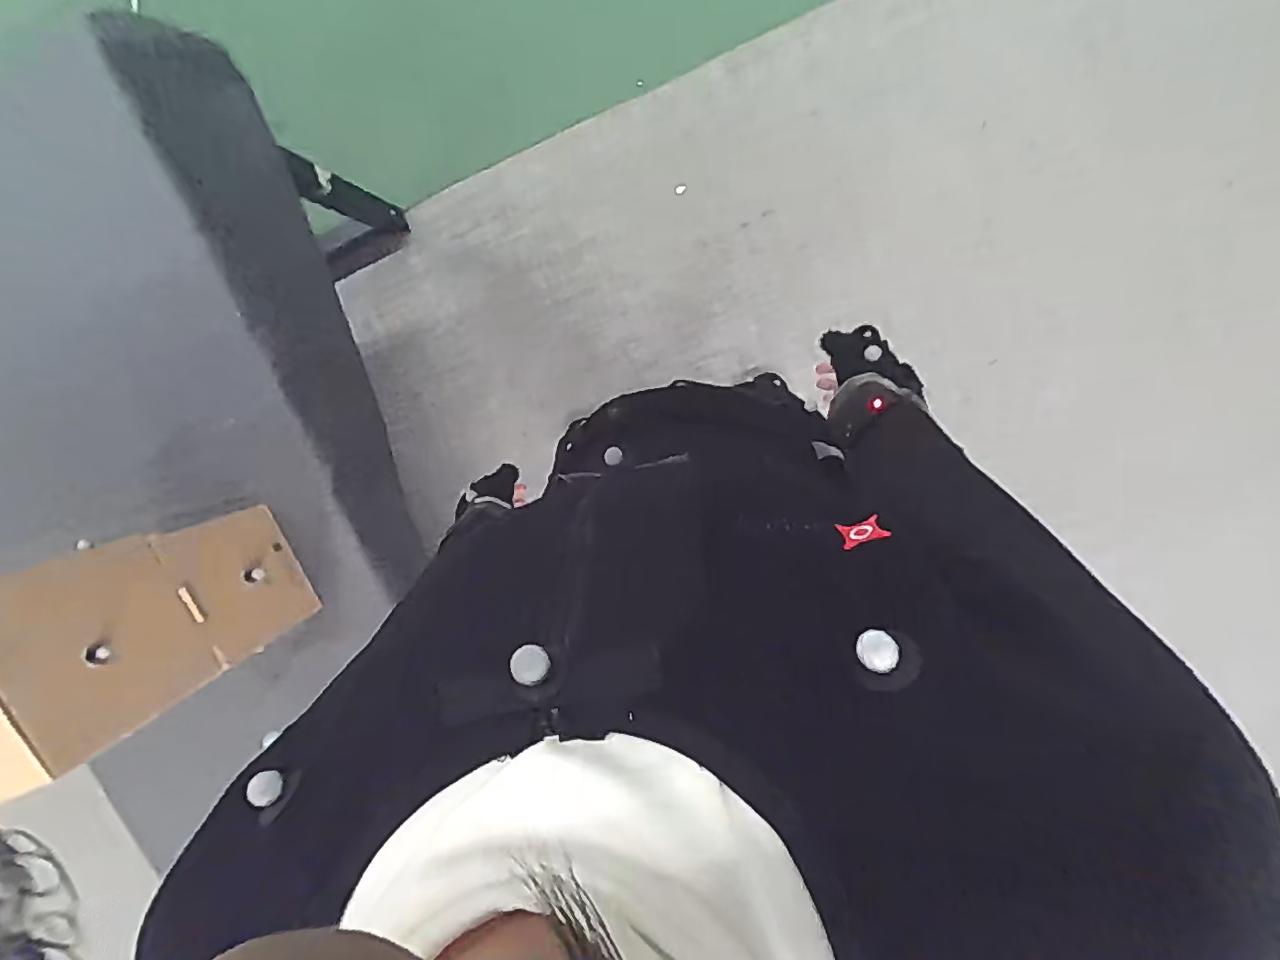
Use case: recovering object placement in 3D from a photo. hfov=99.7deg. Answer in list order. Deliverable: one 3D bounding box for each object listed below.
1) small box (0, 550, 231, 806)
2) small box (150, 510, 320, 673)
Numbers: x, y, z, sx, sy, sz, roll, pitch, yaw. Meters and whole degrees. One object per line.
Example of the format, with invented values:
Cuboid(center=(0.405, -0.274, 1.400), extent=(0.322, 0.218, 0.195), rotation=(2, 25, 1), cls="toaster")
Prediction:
Cuboid(center=(-0.573, 0.185, 0.537), extent=(0.168, 0.176, 0.179), rotation=(-21, 100, 10), cls="small box")
Cuboid(center=(-0.557, 0.156, 0.699), extent=(0.179, 0.176, 0.168), rotation=(-23, 99, 10), cls="small box")
